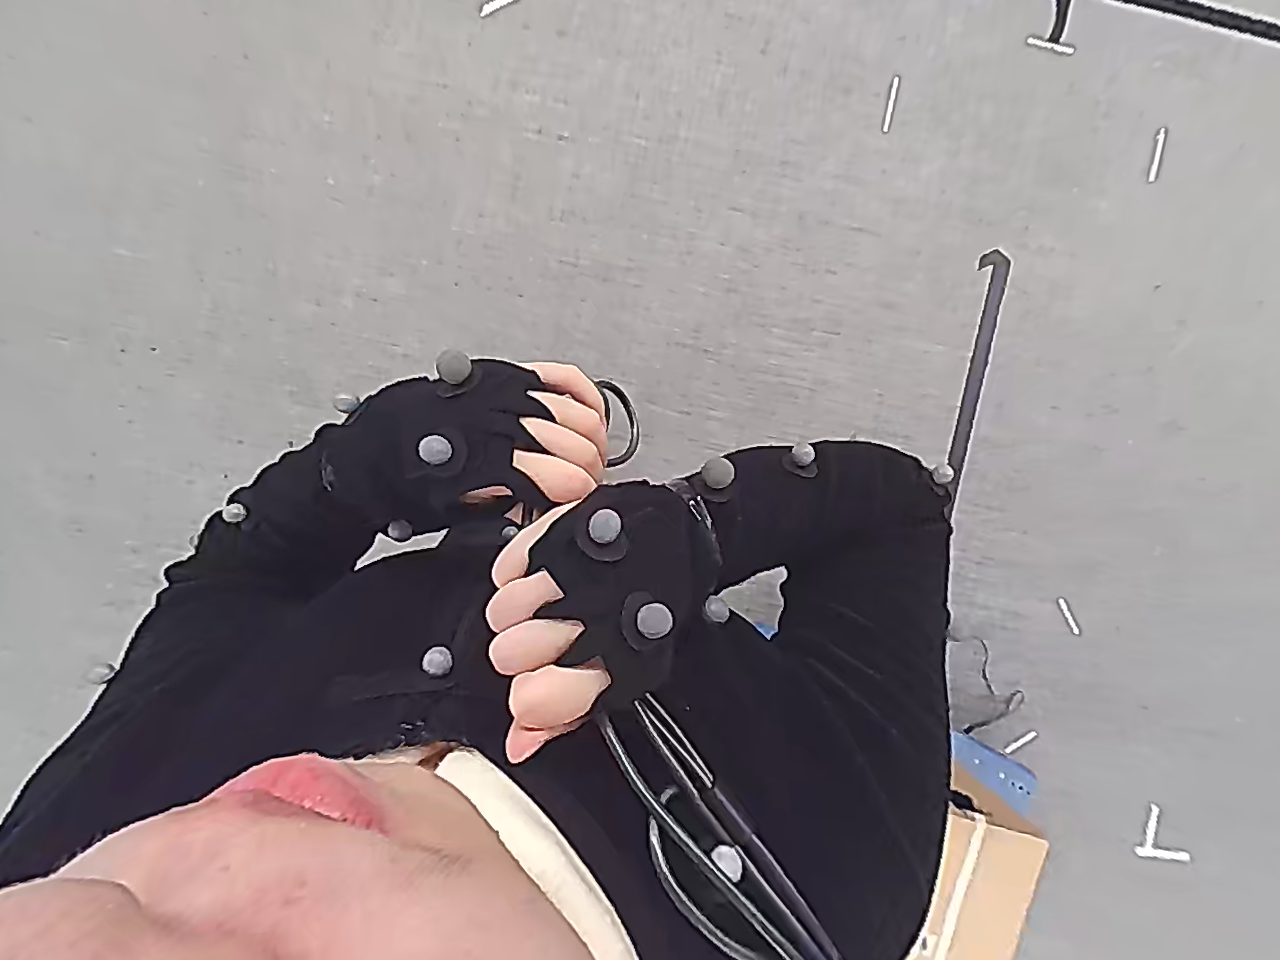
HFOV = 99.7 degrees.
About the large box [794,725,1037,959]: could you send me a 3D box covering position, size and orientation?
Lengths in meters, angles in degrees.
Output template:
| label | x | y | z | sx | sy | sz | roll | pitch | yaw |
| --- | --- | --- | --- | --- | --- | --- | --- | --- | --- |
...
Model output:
| label | x | y | z | sx | sy | sz | roll | pitch | yaw |
| --- | --- | --- | --- | --- | --- | --- | --- | --- | --- |
| large box | 0.600 | 0.851 | 1.239 | 0.320 | 0.320 | 0.408 | 17 | 92 | -3 |
